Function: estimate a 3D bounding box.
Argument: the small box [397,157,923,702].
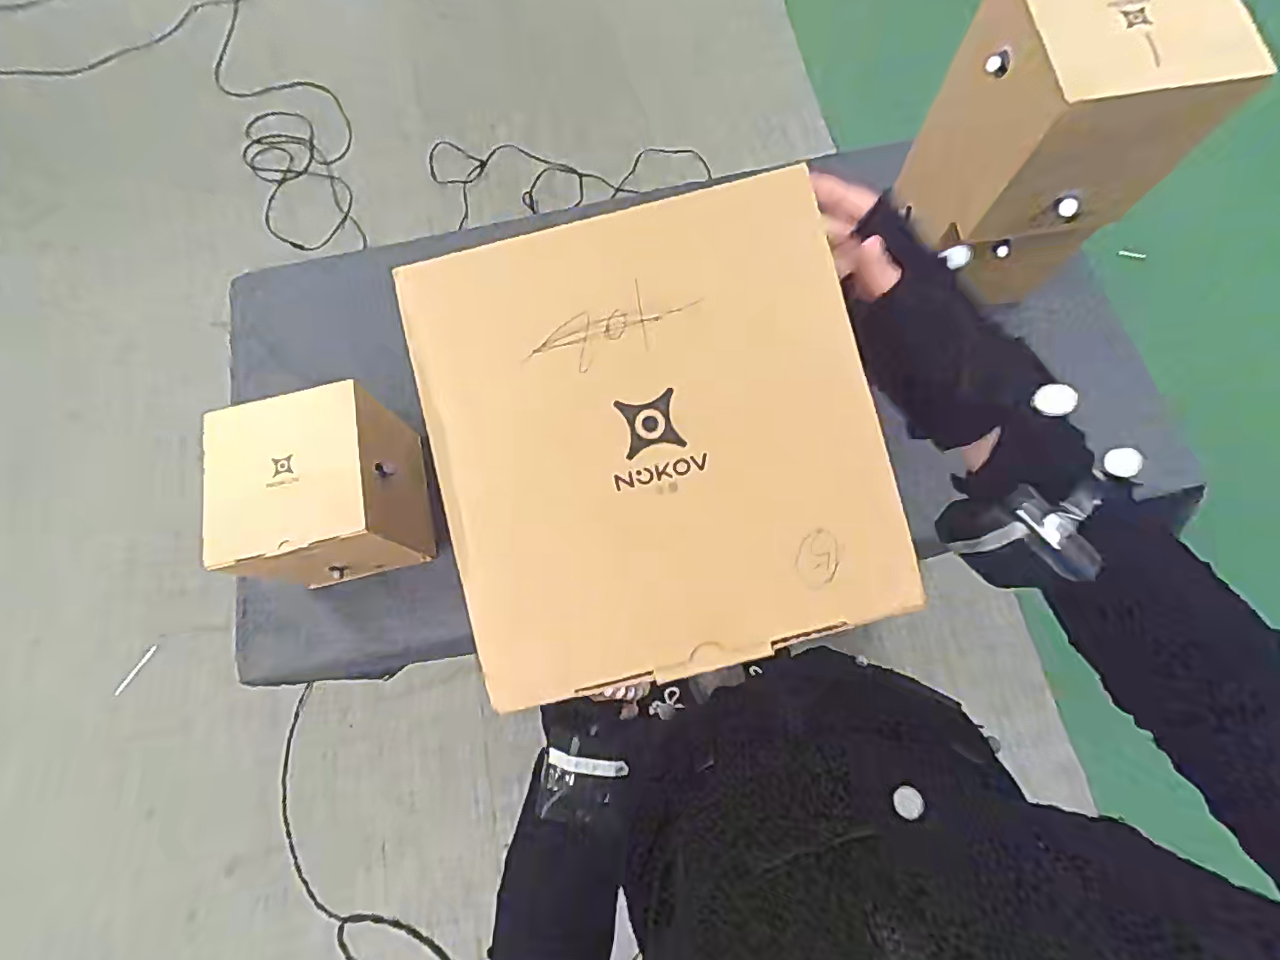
[{"bbox_3d":[0.007,-0.017,0.279,0.168,0.176,0.179,-13,87,0],"label":"small box"}]

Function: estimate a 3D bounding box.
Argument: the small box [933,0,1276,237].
[{"bbox_3d":[0.417,-0.373,0.527,0.168,0.176,0.179,-7,75,2],"label":"small box"}]

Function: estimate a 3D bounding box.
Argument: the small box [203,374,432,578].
[{"bbox_3d":[-0.363,0.005,0.634,0.168,0.176,0.179,-13,74,-1],"label":"small box"}]

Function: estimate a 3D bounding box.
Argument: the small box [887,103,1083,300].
[{"bbox_3d":[0.433,-0.346,0.690,0.179,0.176,0.168,0,75,3],"label":"small box"}]
